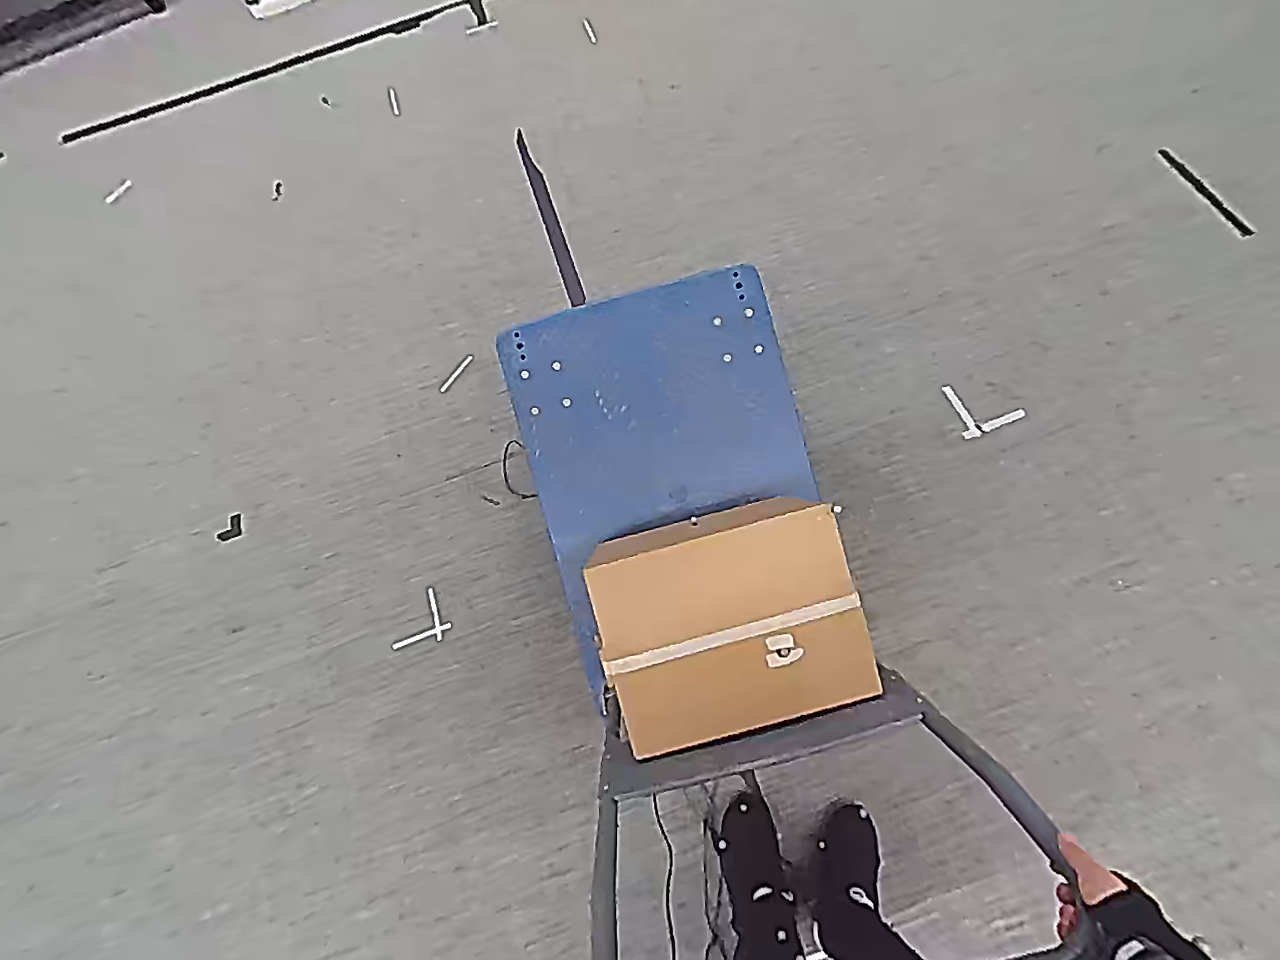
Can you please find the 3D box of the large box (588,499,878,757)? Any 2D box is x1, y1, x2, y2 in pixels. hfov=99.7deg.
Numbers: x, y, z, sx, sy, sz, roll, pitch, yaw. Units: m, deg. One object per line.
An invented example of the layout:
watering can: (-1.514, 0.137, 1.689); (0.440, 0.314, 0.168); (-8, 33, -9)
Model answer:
large box: (0.145, 0.238, 1.003); (0.408, 0.320, 0.320); (-16, 91, -1)
